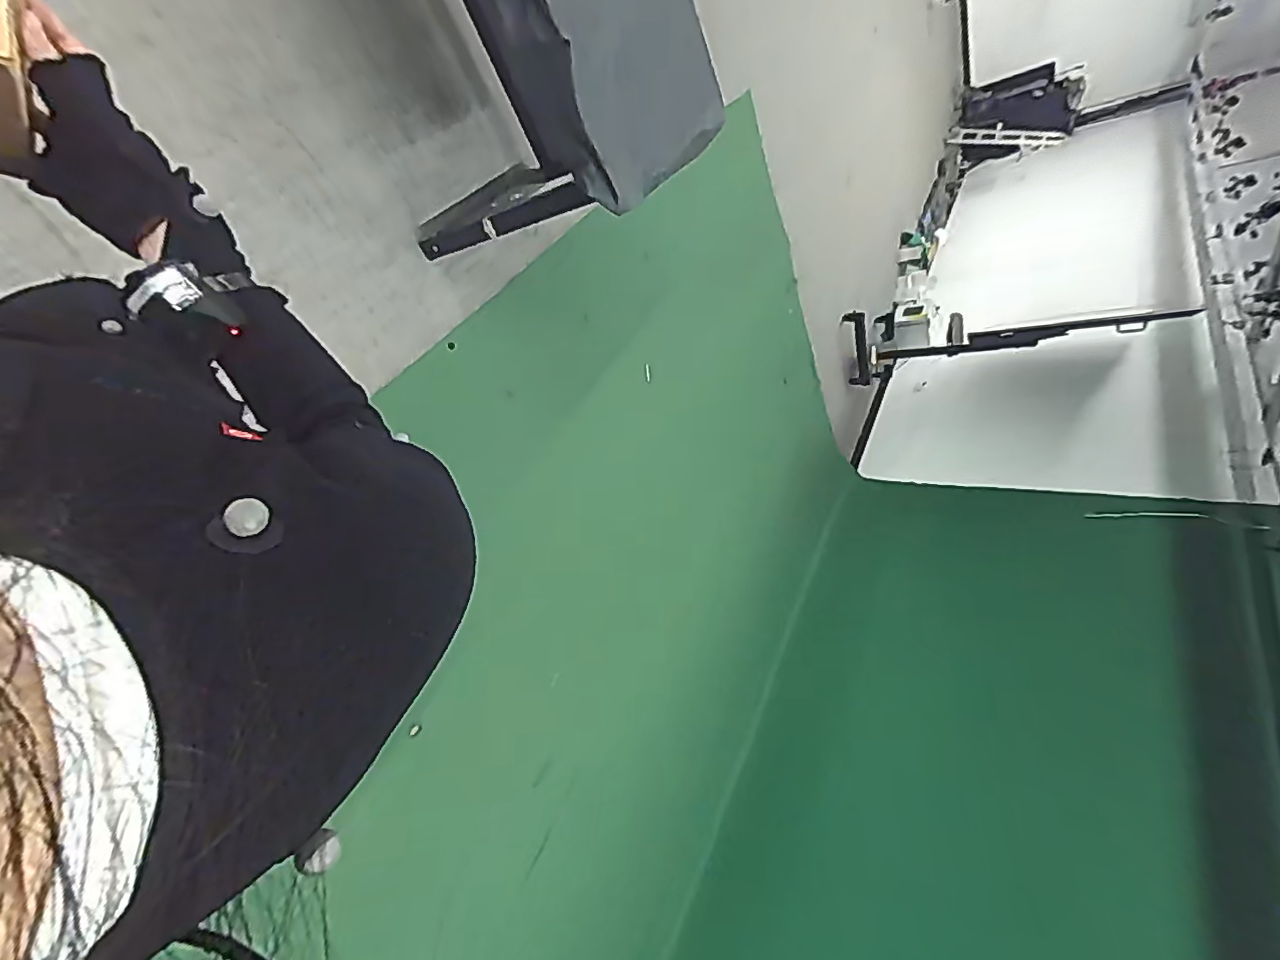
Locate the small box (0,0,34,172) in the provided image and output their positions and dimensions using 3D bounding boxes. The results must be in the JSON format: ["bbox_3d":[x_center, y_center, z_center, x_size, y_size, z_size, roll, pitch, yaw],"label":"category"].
[{"bbox_3d":[-0.471,-0.315,0.303,0.168,0.176,0.179,-4,95,-45],"label":"small box"}]
